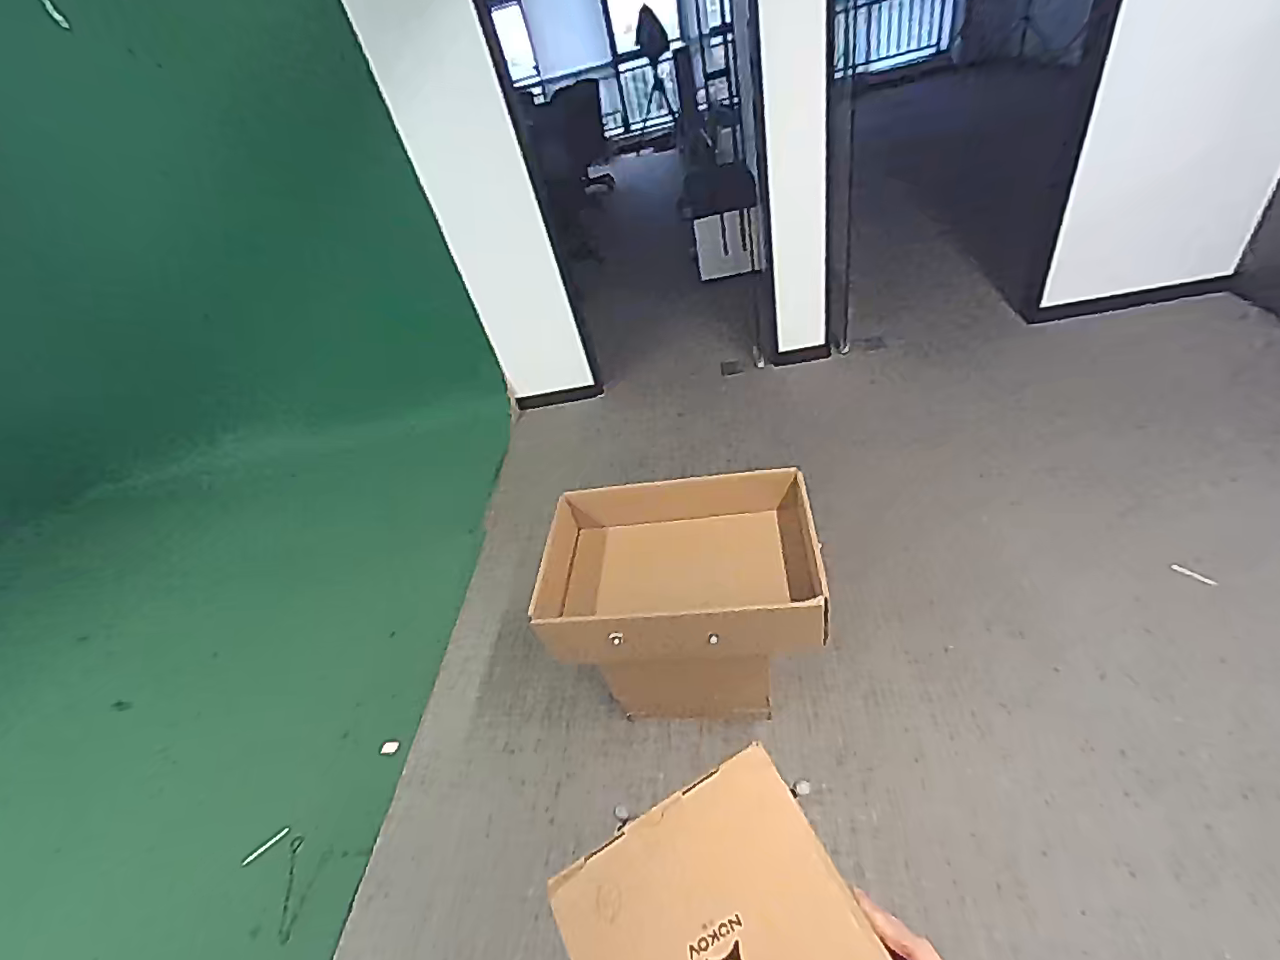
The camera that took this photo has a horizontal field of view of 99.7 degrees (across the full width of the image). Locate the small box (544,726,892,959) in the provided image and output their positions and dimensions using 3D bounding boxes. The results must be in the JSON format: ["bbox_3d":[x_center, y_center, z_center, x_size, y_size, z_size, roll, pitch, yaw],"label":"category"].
[{"bbox_3d":[0.060,0.303,0.387,0.168,0.176,0.179,-31,63,-3],"label":"small box"}]
